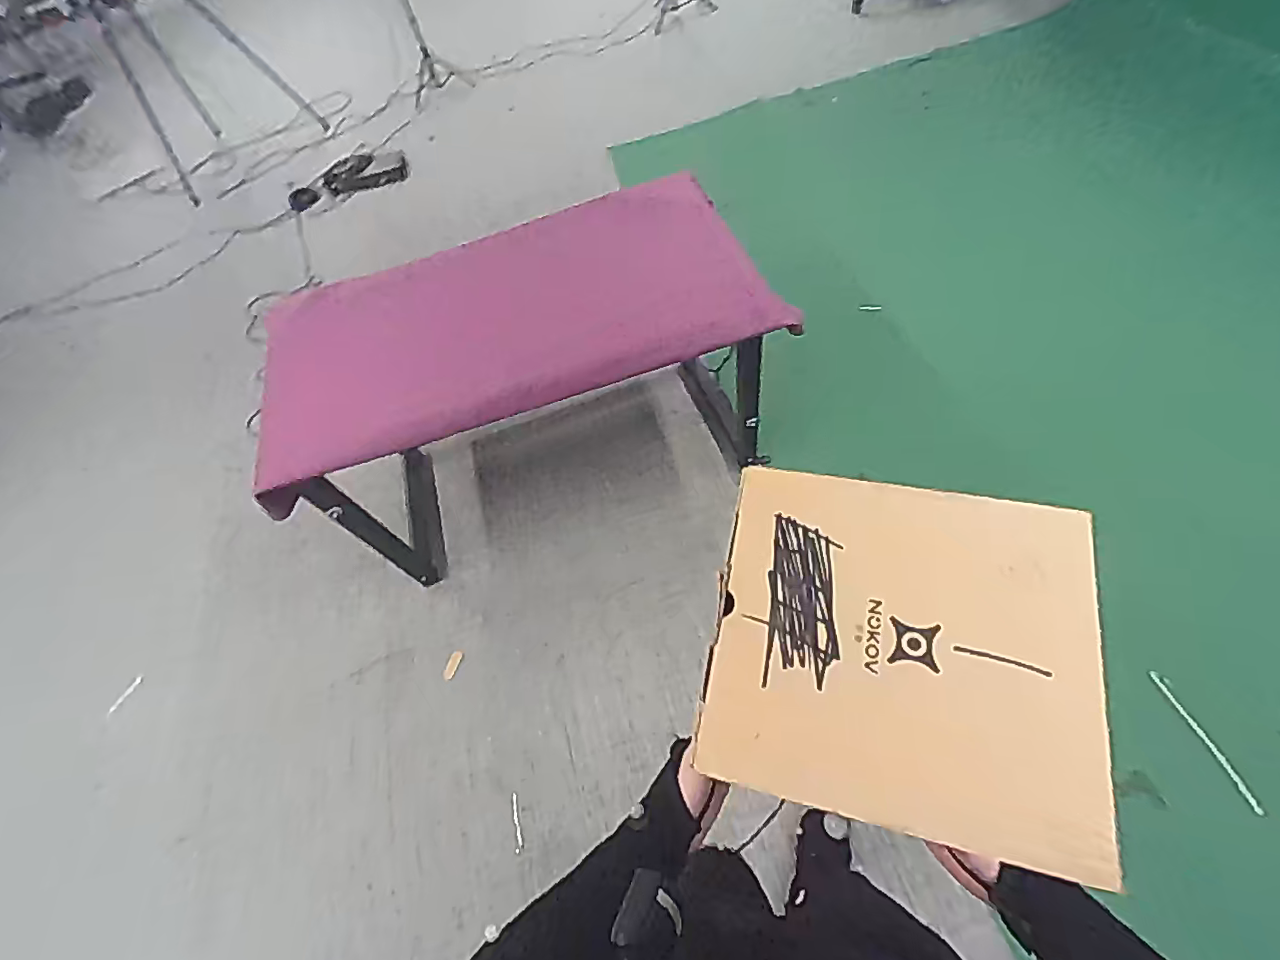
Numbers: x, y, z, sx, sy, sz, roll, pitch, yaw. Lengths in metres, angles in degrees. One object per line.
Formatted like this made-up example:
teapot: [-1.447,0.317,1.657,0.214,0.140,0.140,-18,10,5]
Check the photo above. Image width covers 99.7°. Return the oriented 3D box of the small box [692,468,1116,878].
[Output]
small box: [0.140,0.109,0.338,0.179,0.176,0.168,8,68,15]
